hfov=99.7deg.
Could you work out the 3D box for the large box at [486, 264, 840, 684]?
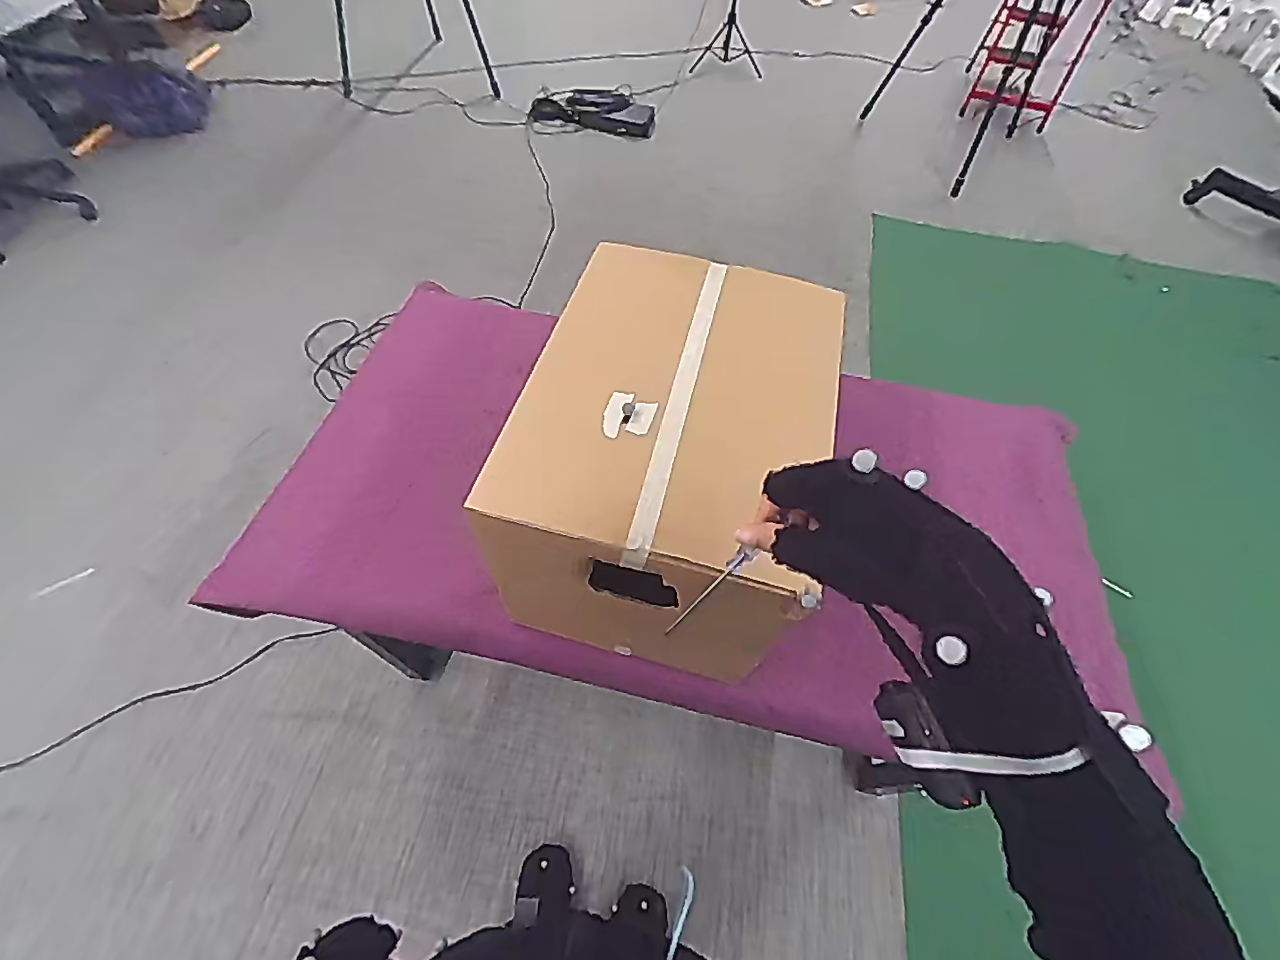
[{"bbox_3d":[0.043,-0.004,0.705,0.320,0.320,0.408,14,58,6],"label":"large box"}]
